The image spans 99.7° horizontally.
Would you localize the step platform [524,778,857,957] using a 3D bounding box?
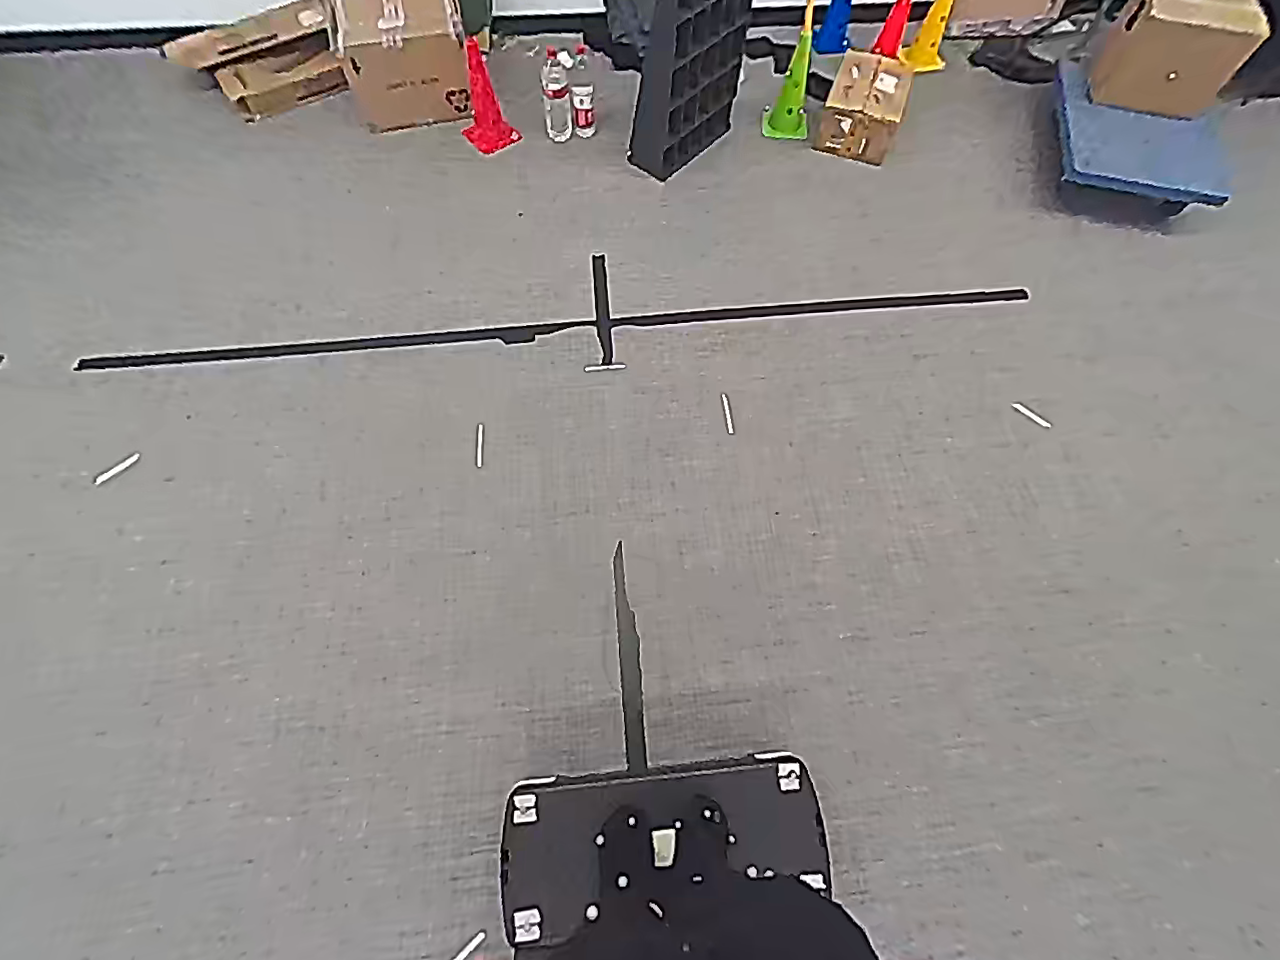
[{"bbox_3d":[0.098,0.812,1.161,0.684,0.204,0.286,-1,63,-2],"label":"step platform"}]
